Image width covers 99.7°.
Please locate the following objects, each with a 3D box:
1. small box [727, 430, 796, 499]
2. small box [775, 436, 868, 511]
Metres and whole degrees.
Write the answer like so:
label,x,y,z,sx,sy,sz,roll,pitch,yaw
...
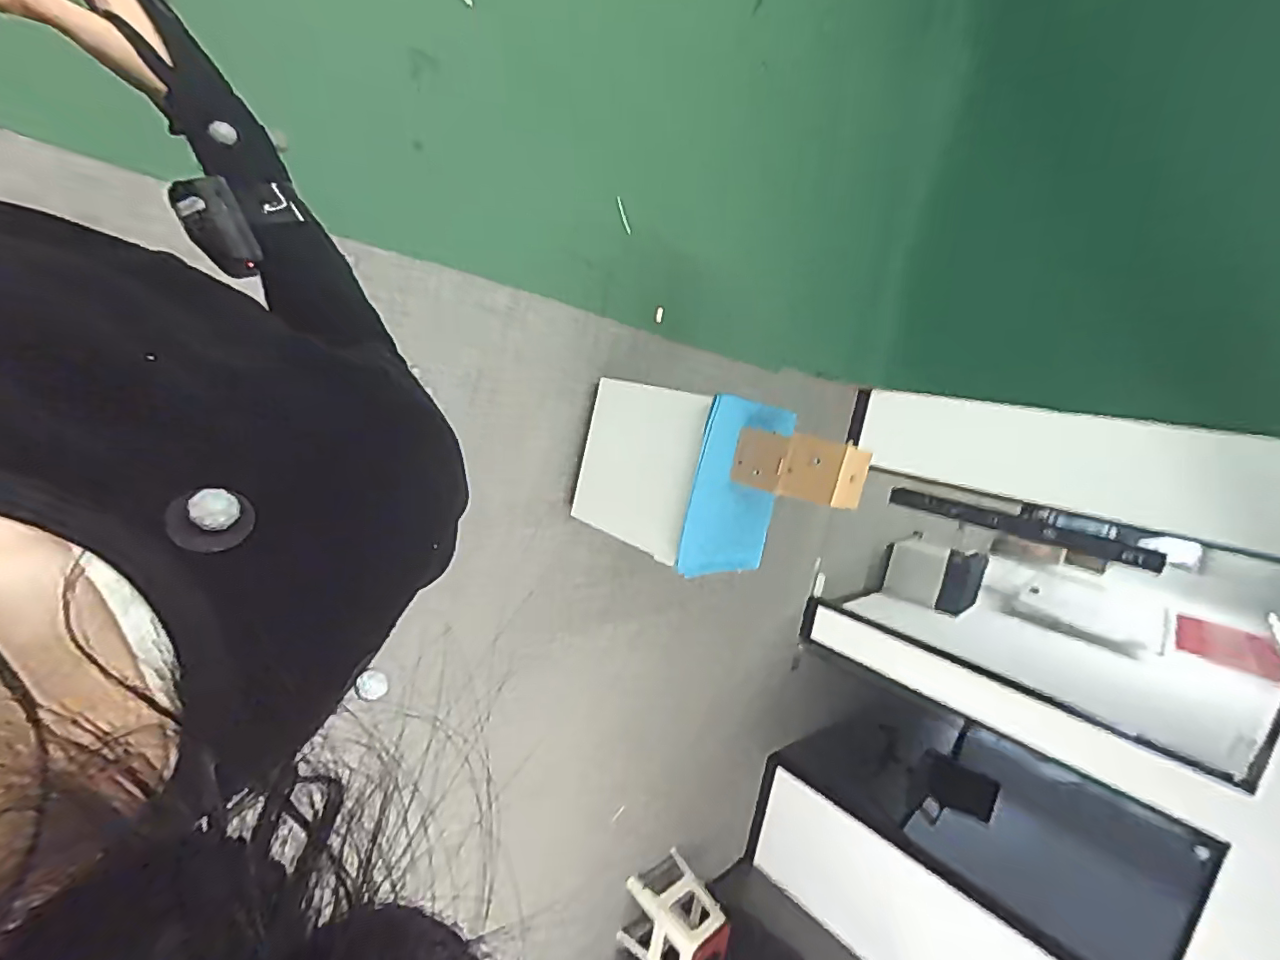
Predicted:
label,x,y,z,sx,sy,sz,roll,pitch,yaw
small box,0.383,-0.048,1.602,0.179,0.176,0.168,5,102,-47
small box,0.497,-0.019,1.490,0.179,0.176,0.168,7,100,-48
